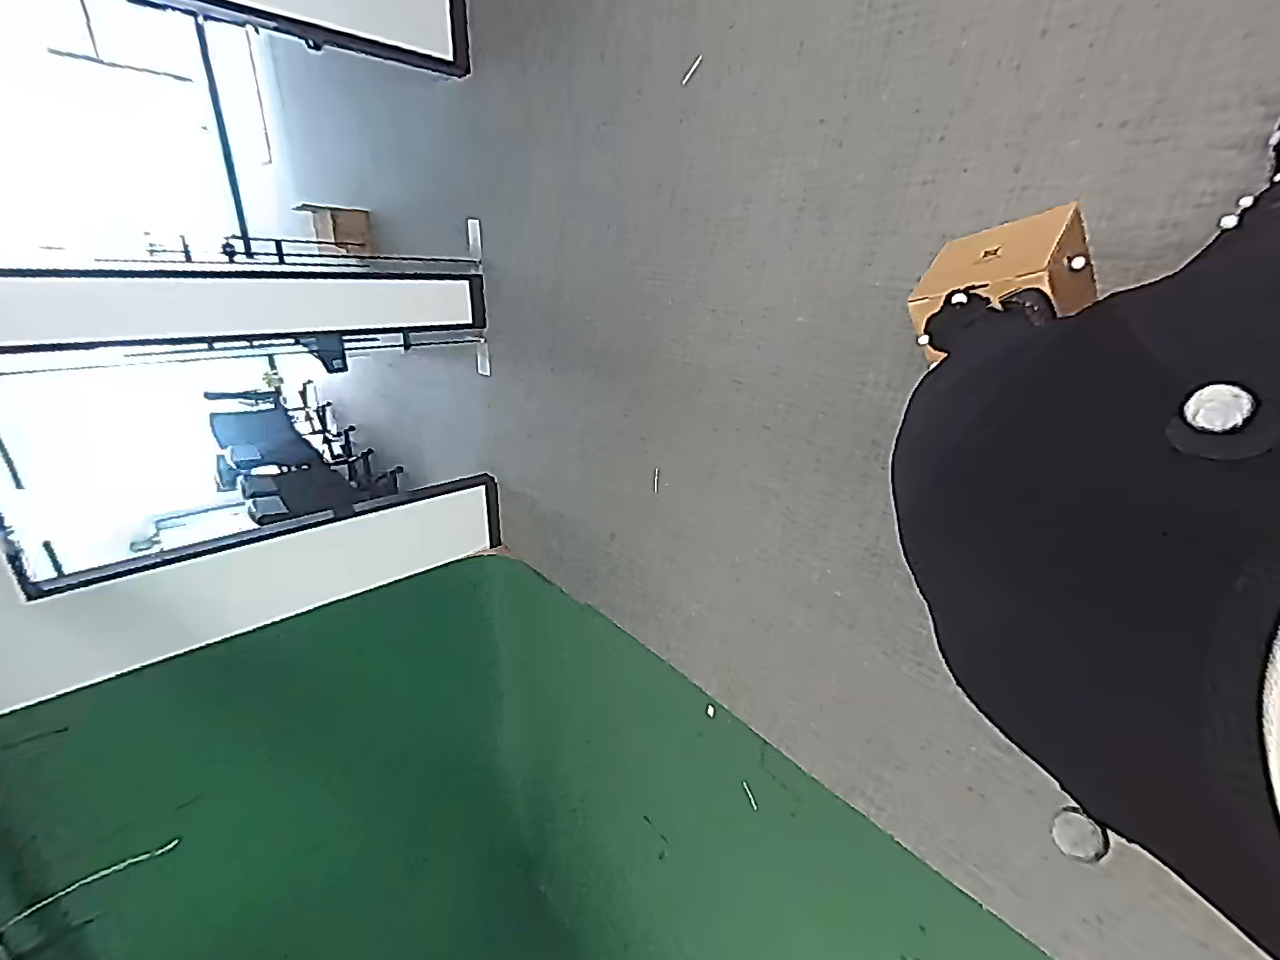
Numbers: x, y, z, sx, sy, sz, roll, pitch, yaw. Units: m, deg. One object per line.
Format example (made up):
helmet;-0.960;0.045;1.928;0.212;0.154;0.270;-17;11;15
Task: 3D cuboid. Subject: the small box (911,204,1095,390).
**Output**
small box;0.526;-0.252;0.778;0.168;0.179;0.176;2;135;52
